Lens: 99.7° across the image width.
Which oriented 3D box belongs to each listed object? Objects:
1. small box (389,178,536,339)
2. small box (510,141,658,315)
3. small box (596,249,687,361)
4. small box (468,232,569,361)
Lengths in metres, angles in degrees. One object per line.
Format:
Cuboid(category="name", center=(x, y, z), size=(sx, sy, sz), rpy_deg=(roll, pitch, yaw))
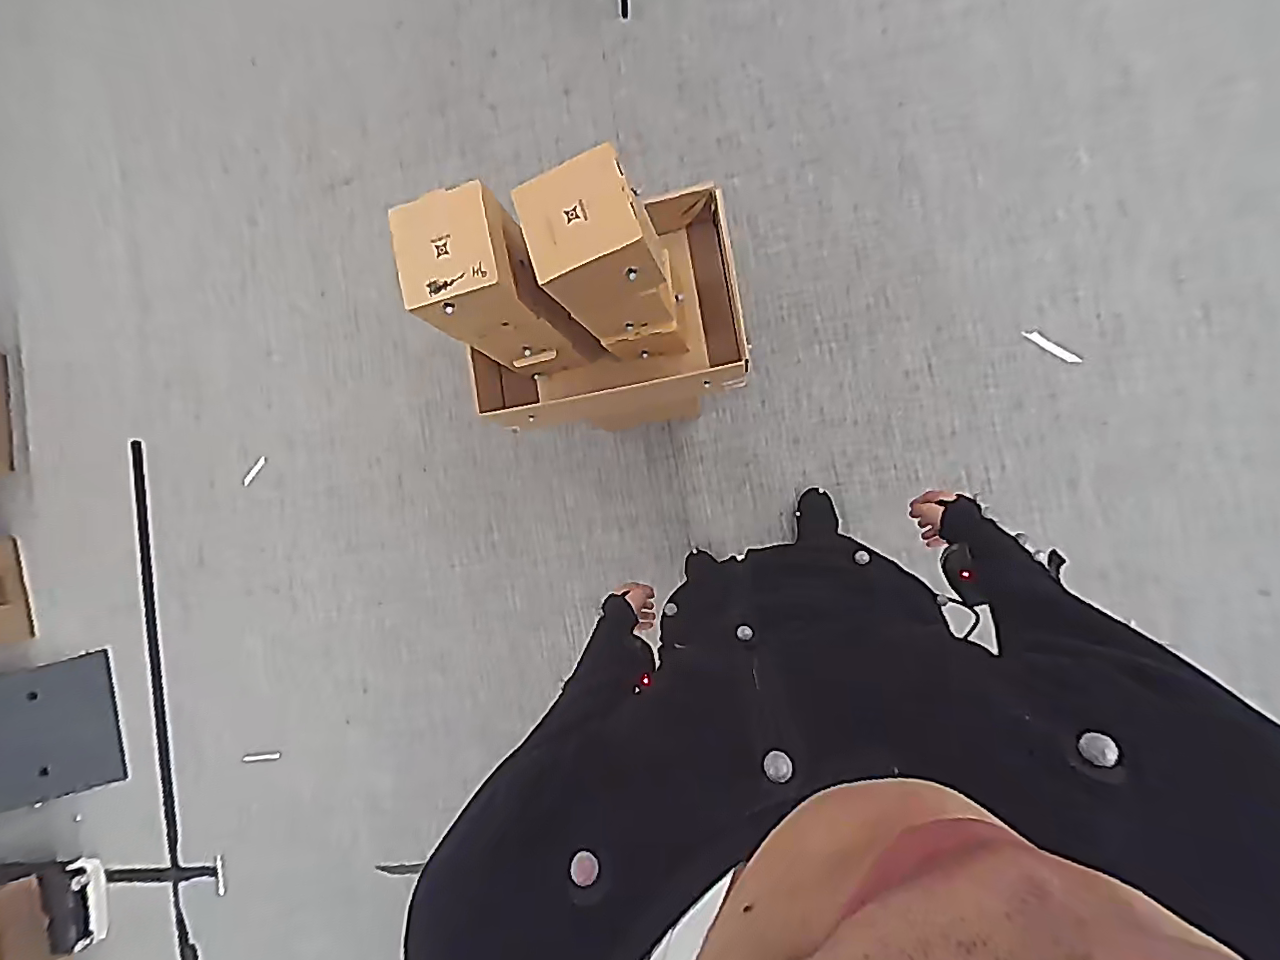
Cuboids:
Cuboid(category="small box", center=(-0.294, -0.364, 0.923), size=(0.168, 0.176, 0.179), rpy_deg=(-12, 84, 12))
Cuboid(category="small box", center=(-0.080, -0.397, 0.885), size=(0.179, 0.176, 0.168), rpy_deg=(-19, 83, 14))
Cuboid(category="small box", center=(0.004, -0.379, 1.200), size=(0.168, 0.176, 0.179), rpy_deg=(-7, 87, 14))
Cuboid(category="small box", center=(-0.256, -0.358, 1.084), size=(0.168, 0.176, 0.179), rpy_deg=(-12, 86, 11))
